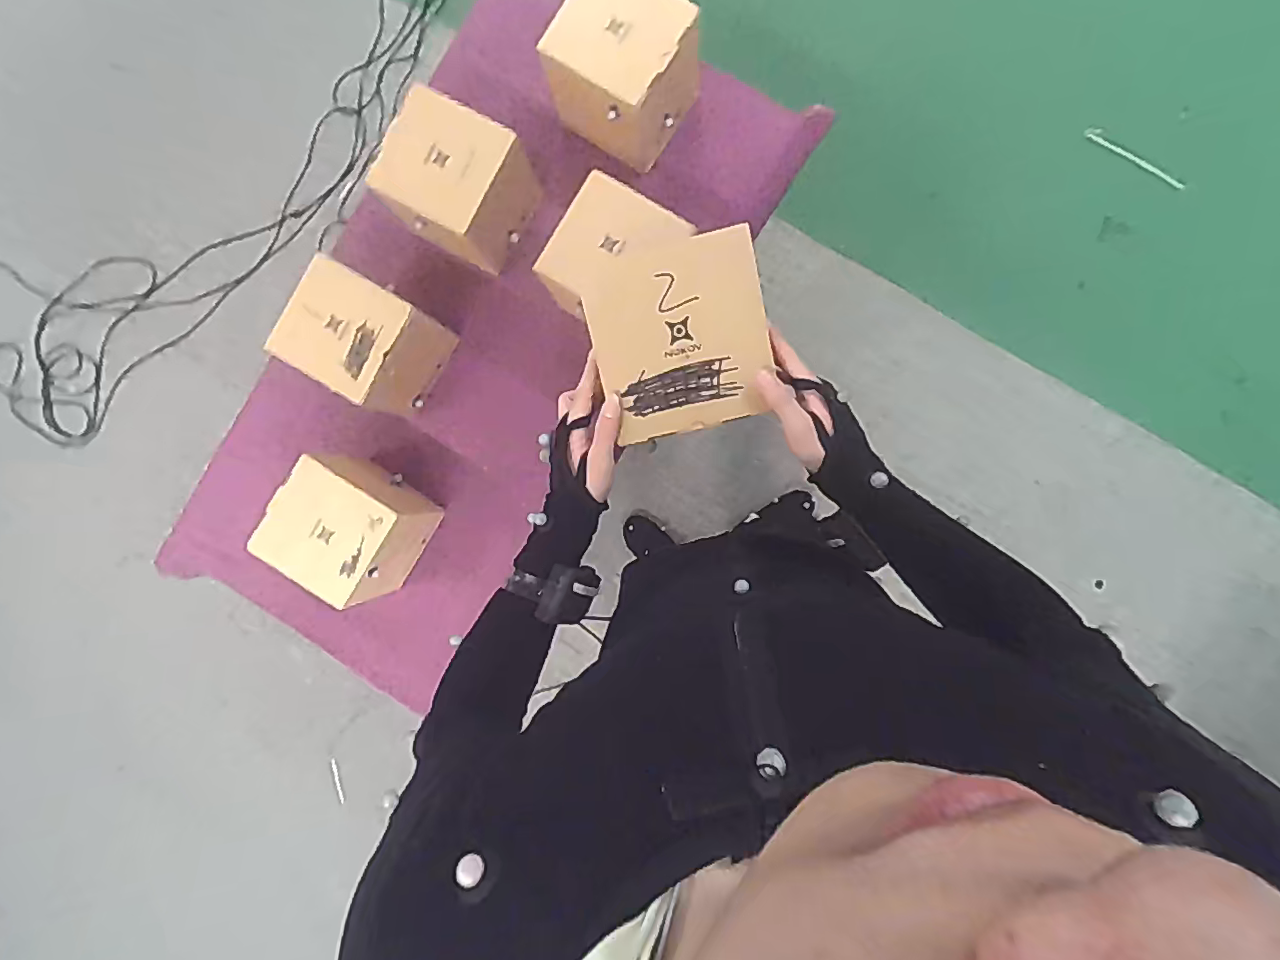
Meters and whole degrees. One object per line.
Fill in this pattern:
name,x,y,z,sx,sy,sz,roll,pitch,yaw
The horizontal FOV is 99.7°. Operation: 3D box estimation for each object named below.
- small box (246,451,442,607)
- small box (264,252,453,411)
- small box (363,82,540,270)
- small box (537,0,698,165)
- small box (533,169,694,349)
small box,-0.456,0.073,0.860,0.179,0.176,0.168,32,93,4
small box,-0.434,-0.223,0.865,0.179,0.176,0.168,30,91,4
small box,-0.286,-0.465,0.860,0.179,0.176,0.168,30,92,3
small box,-0.028,-0.639,0.844,0.179,0.176,0.168,33,92,3
small box,-0.032,-0.326,0.837,0.179,0.176,0.168,32,92,5
